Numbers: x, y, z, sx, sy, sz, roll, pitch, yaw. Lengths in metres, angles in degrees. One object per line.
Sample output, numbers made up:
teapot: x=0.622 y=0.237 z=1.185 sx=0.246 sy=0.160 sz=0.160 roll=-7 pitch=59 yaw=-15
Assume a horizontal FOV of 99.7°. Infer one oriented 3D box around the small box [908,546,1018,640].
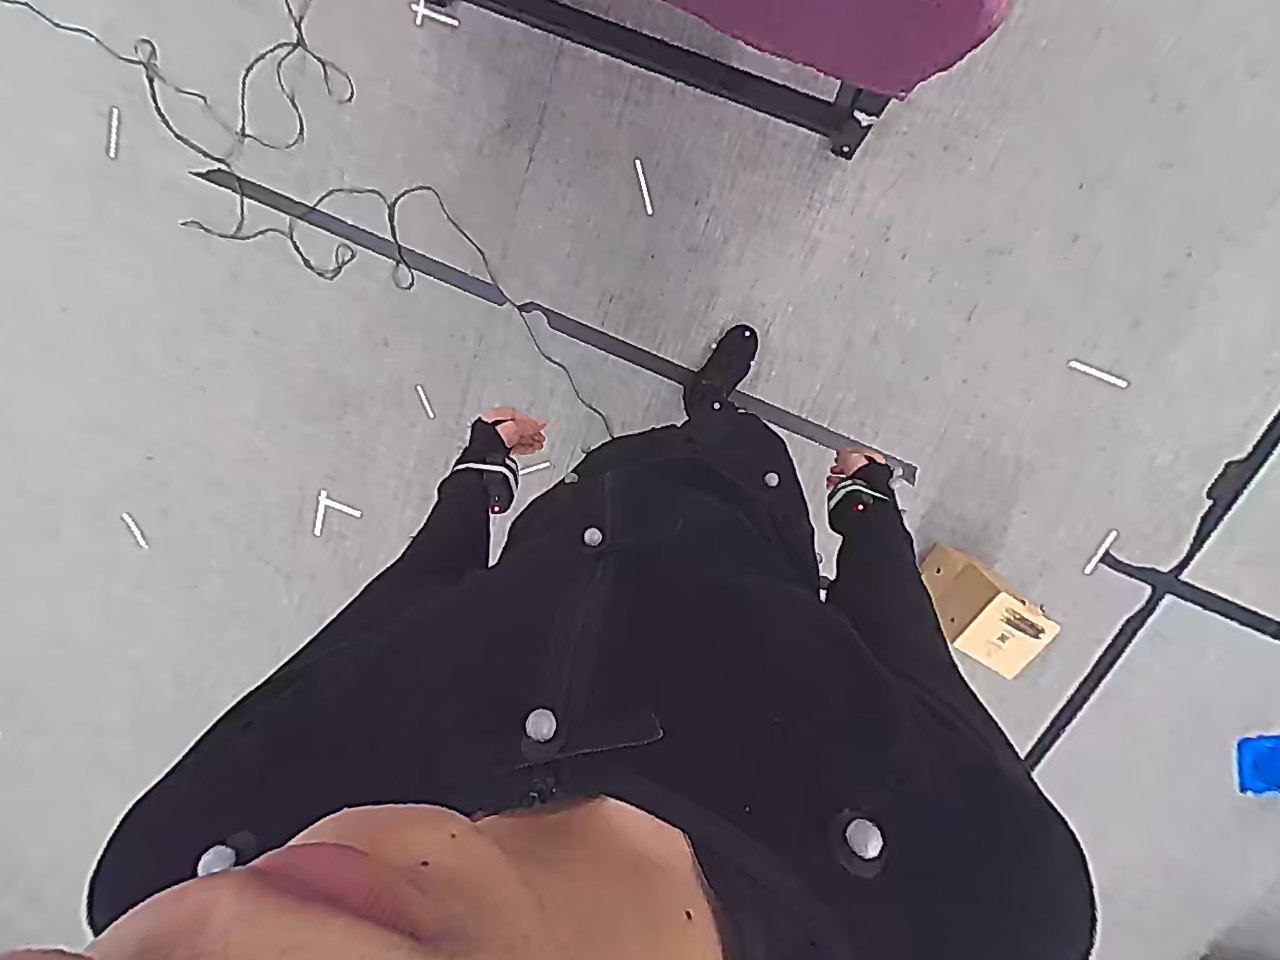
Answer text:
small box: x=0.882 y=0.303 z=1.499 sx=0.179 sy=0.176 sz=0.168 roll=26 pitch=107 yaw=1
